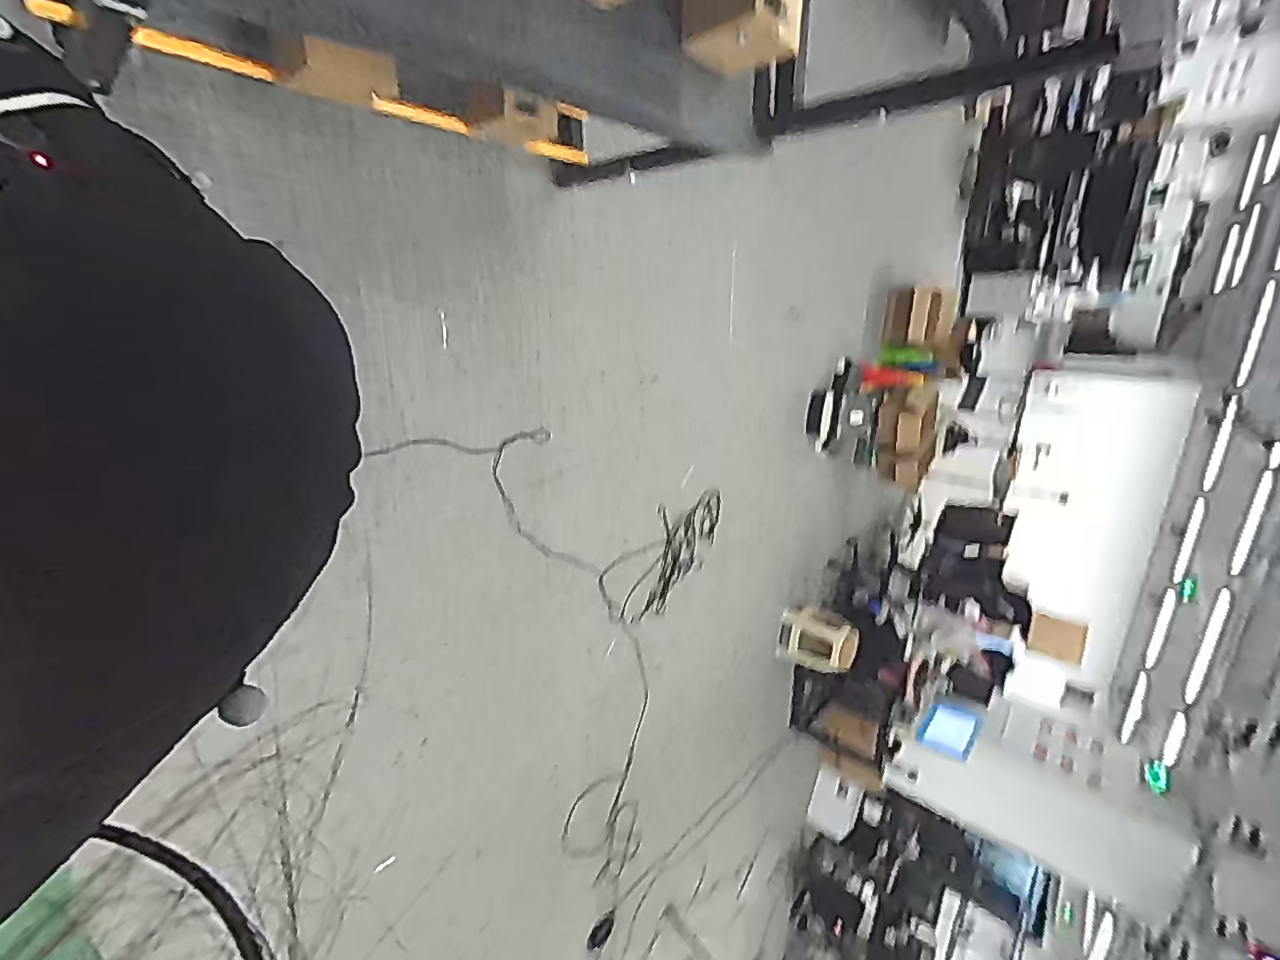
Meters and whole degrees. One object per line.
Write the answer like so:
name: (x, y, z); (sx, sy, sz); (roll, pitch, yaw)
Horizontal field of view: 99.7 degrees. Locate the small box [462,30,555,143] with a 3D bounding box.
small box: (-0.333, -0.980, 1.369); (0.168, 0.176, 0.179); (-15, 113, -47)
